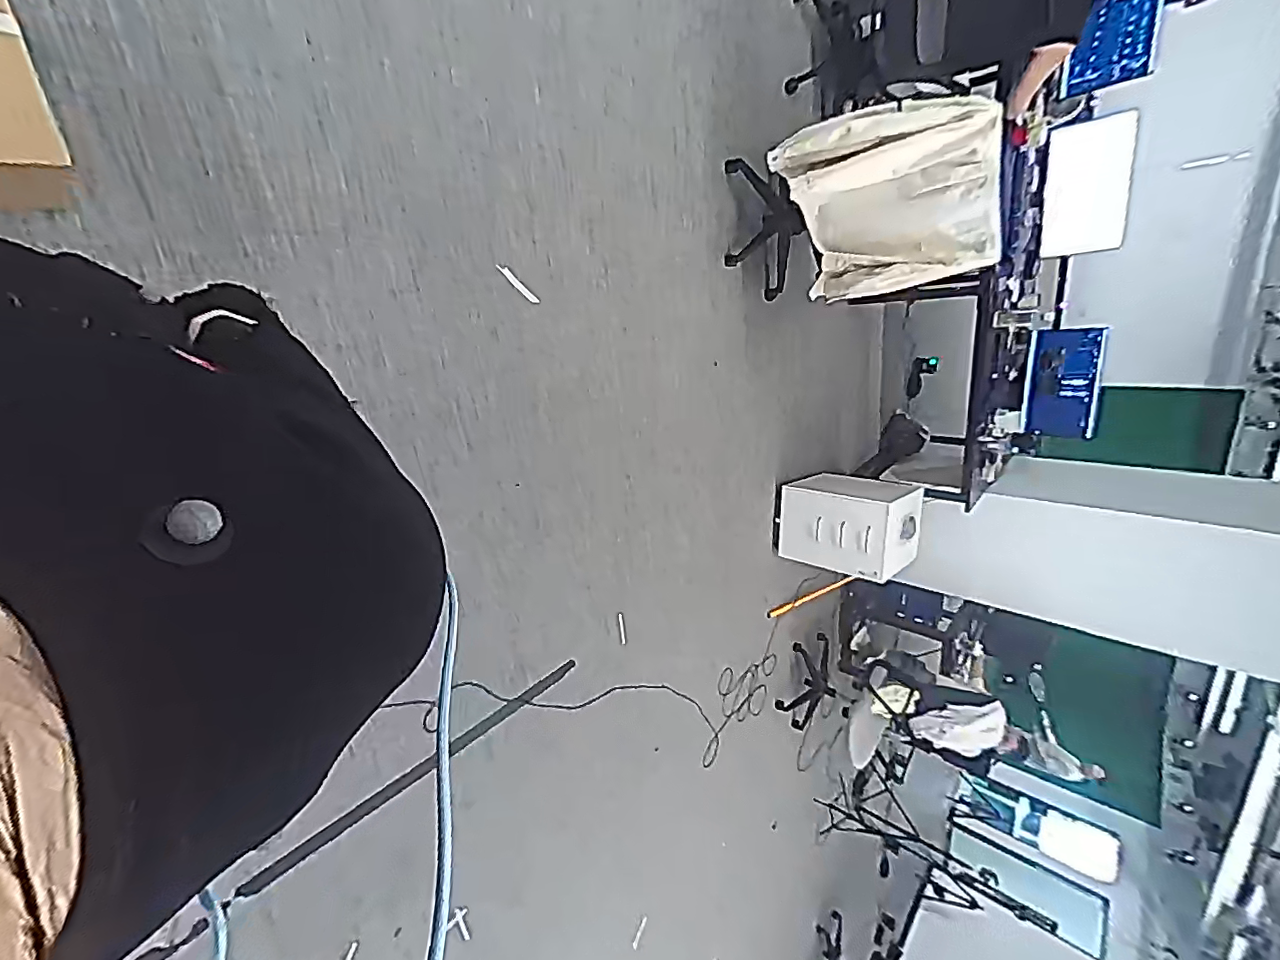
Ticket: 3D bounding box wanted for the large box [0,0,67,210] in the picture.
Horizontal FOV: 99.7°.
[{"bbox_3d":[-1.037,-0.522,0.651,0.408,0.320,0.320,-25,117,-42],"label":"large box"}]
